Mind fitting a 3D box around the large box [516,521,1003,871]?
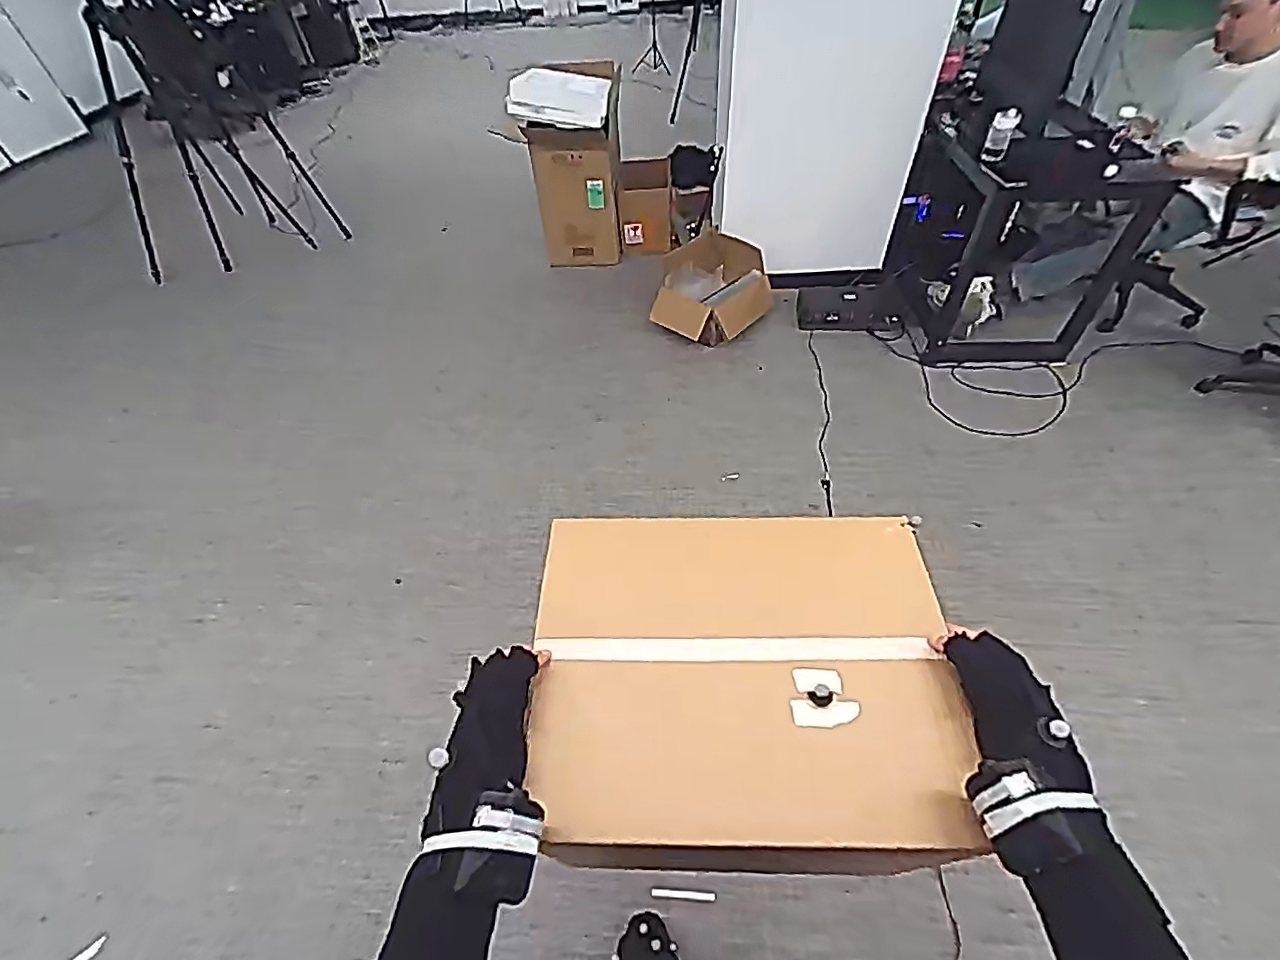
[{"bbox_3d":[0.099,0.263,0.644,0.408,0.320,0.320,0,51,2],"label":"large box"}]
